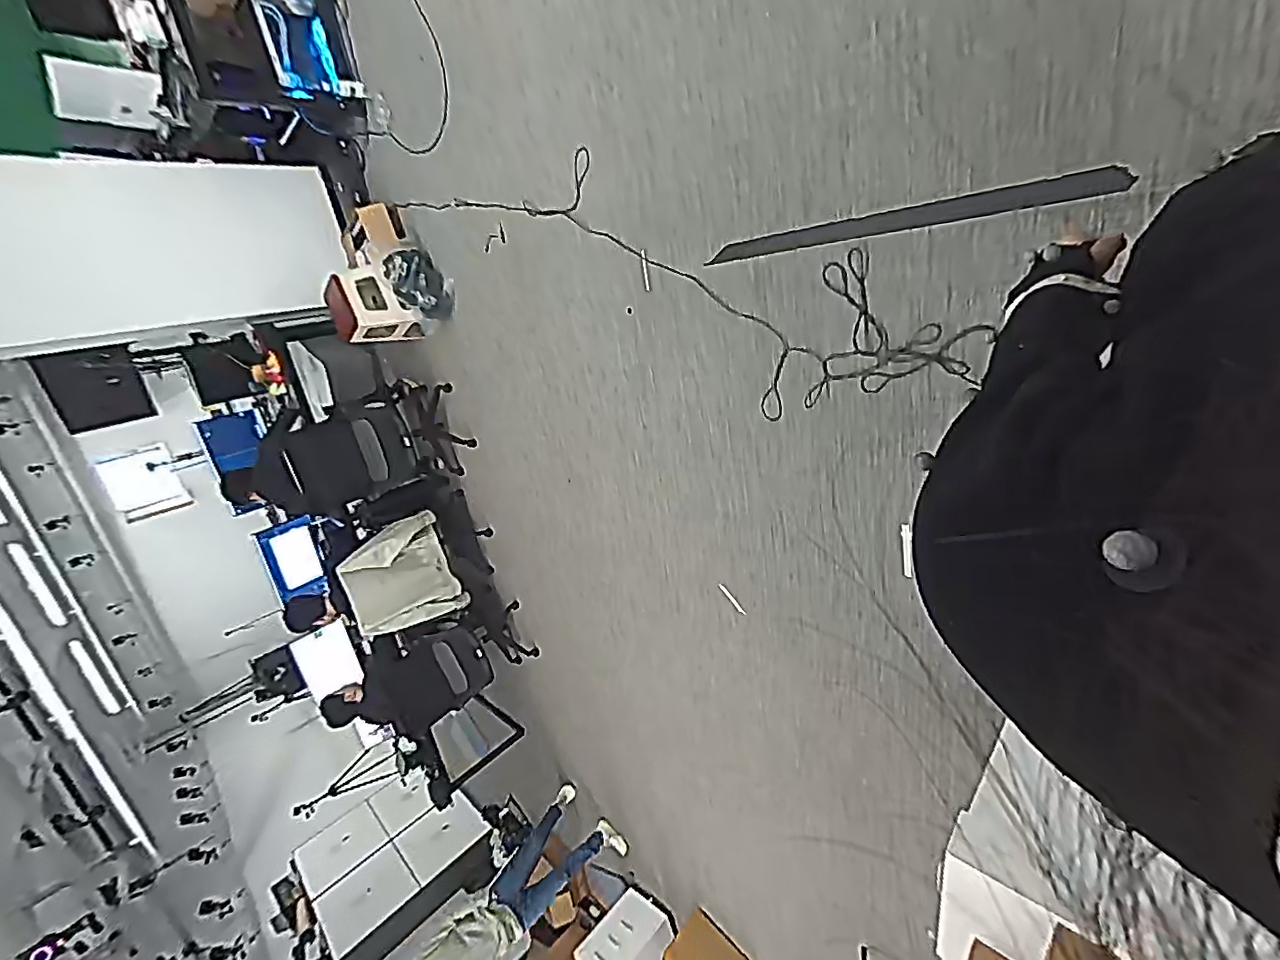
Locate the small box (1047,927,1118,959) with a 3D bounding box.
[{"bbox_3d":[0.803,0.951,0.945,0.168,0.176,0.179,15,122,43],"label":"small box"}]
